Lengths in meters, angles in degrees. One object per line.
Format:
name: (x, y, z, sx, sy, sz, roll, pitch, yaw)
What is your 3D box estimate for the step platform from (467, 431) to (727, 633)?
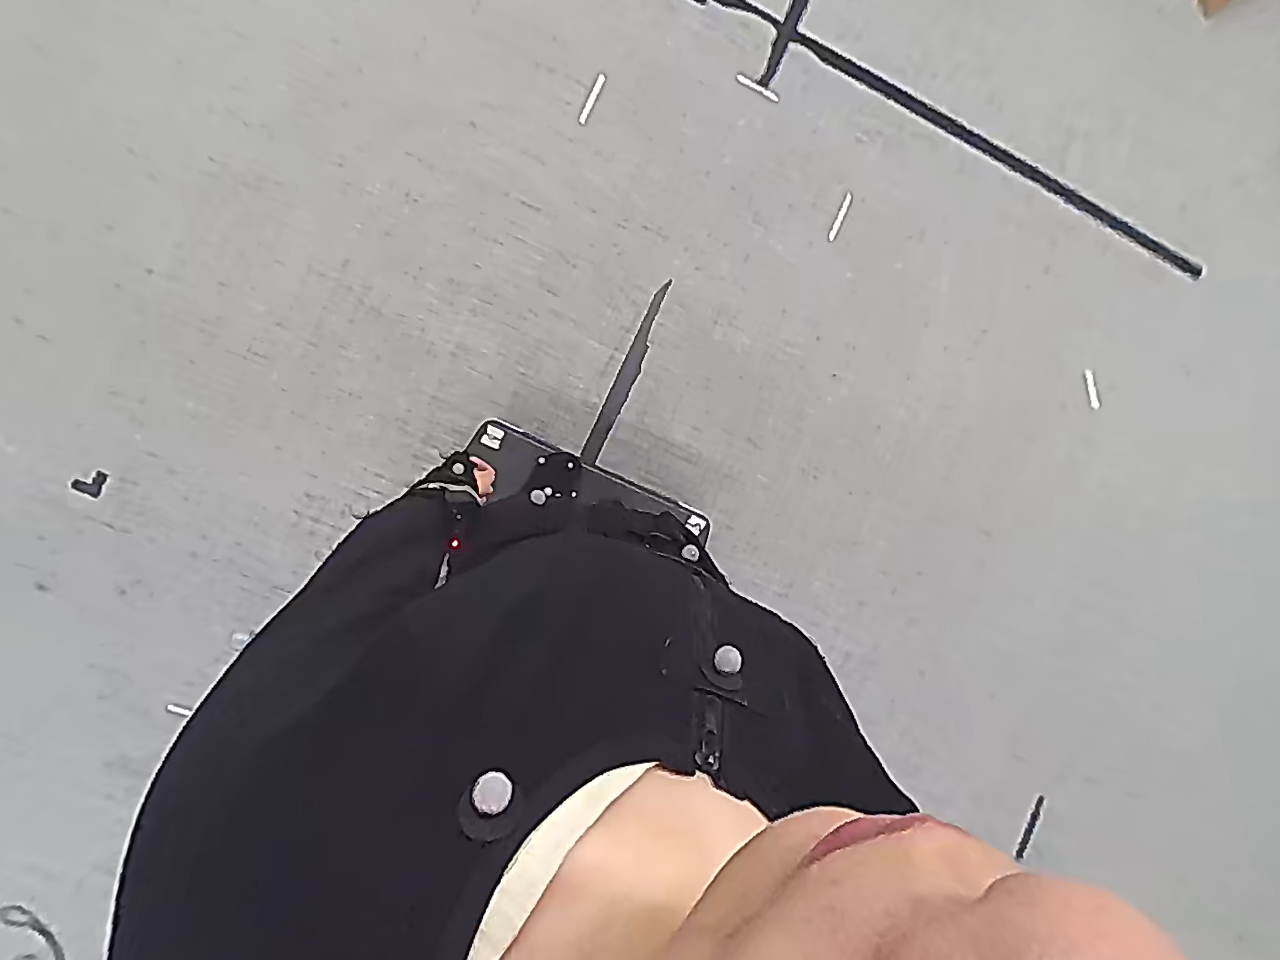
step platform: (-0.111, 0.141, 1.466, 0.684, 0.204, 0.286, 29, 87, -7)
